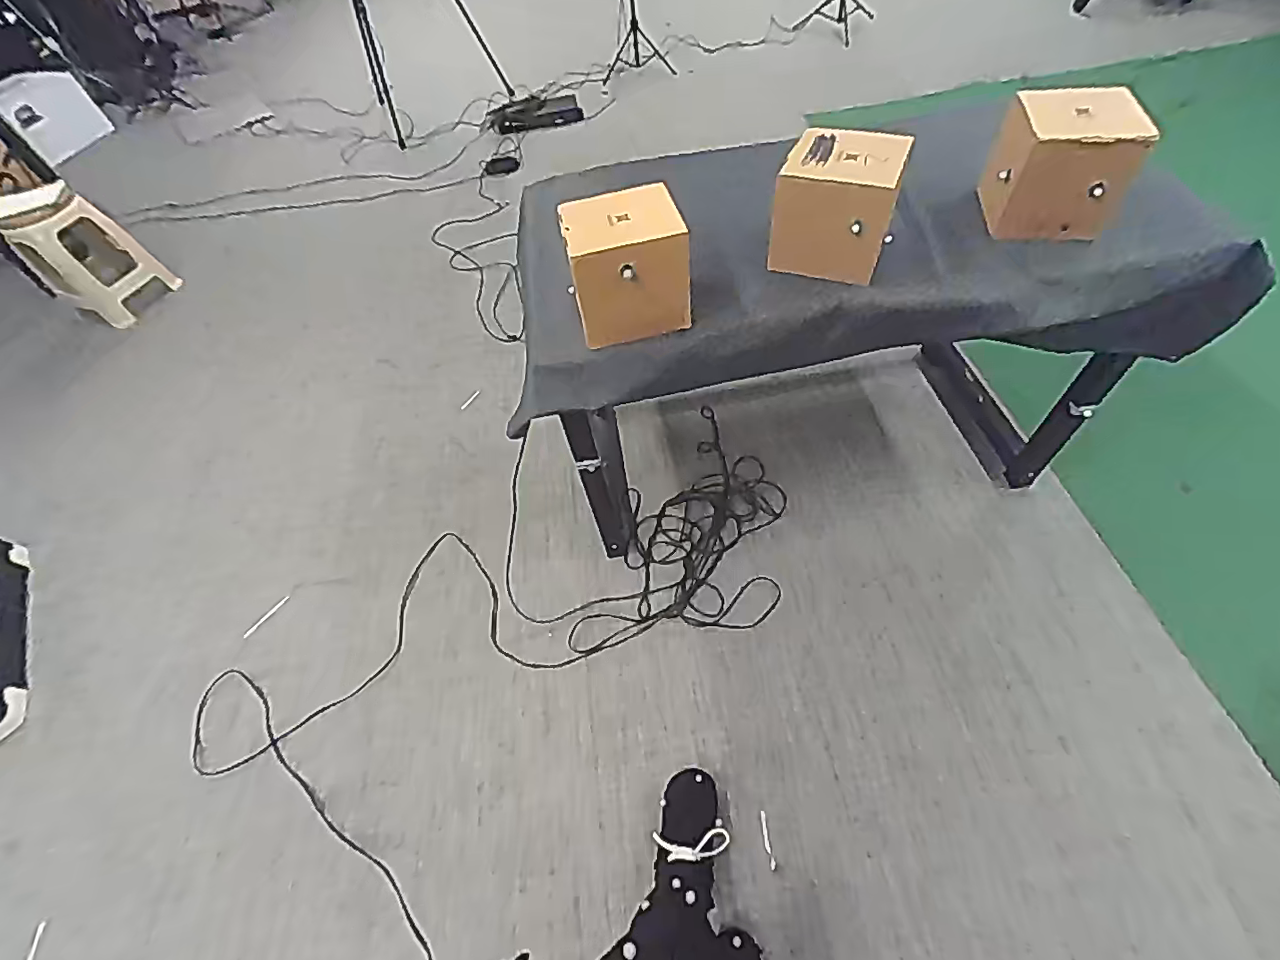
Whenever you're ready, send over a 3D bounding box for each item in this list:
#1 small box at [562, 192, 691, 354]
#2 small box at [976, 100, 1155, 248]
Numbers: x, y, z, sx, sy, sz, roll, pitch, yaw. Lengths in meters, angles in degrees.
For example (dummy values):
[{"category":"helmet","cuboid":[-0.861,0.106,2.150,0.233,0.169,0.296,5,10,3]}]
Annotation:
[{"category":"small box","cuboid":[-0.018,-0.333,0.879,0.179,0.176,0.168,-13,51,-1]},{"category":"small box","cuboid":[0.705,-0.517,0.922,0.168,0.176,0.179,6,54,10]}]
